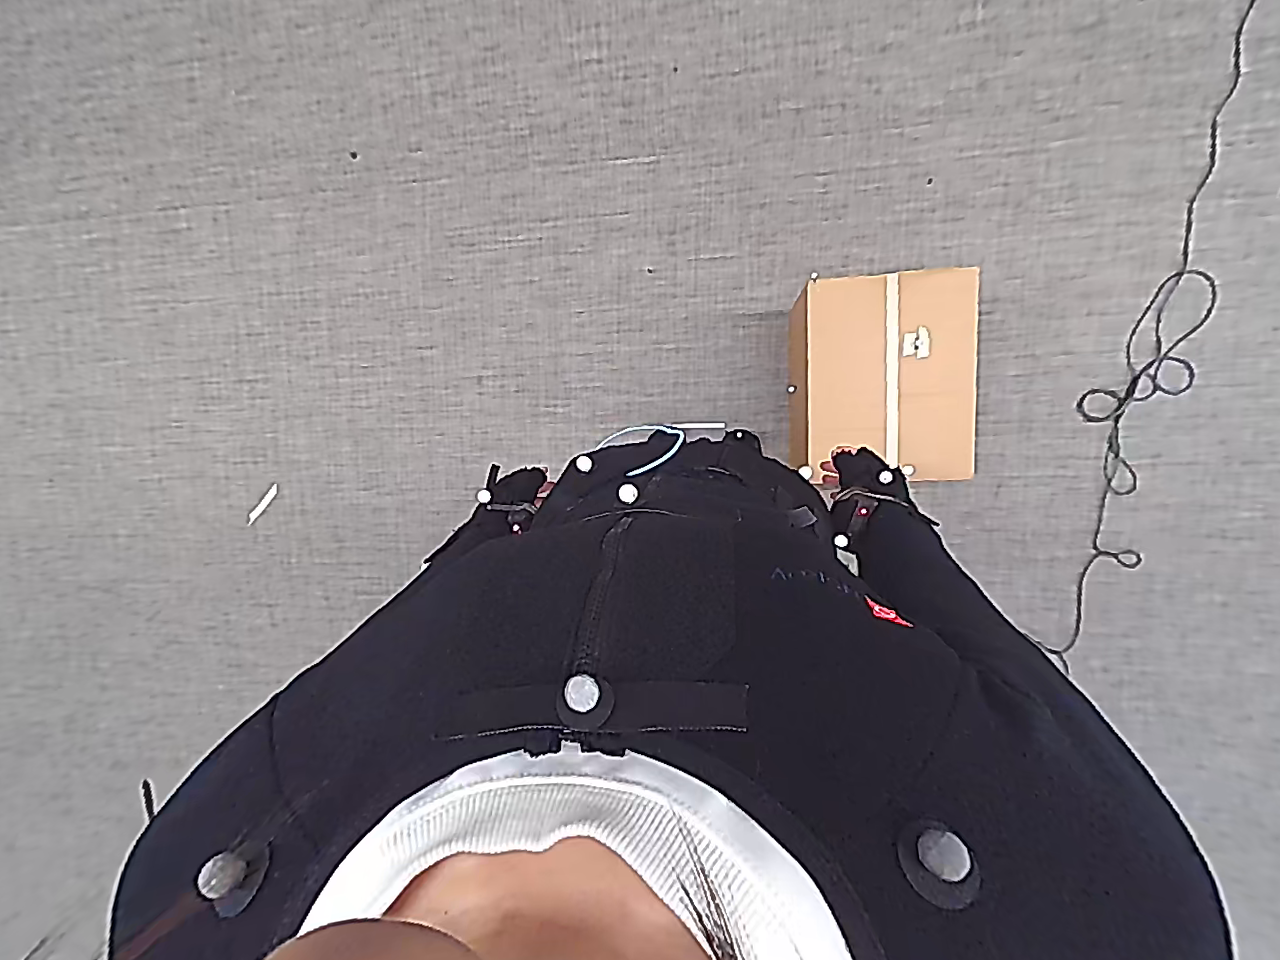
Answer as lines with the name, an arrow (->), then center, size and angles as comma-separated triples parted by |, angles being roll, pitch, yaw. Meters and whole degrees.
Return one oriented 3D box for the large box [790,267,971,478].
large box -> 0.515, -0.218, 1.221 | 0.320, 0.320, 0.408 | -1, 95, 8
